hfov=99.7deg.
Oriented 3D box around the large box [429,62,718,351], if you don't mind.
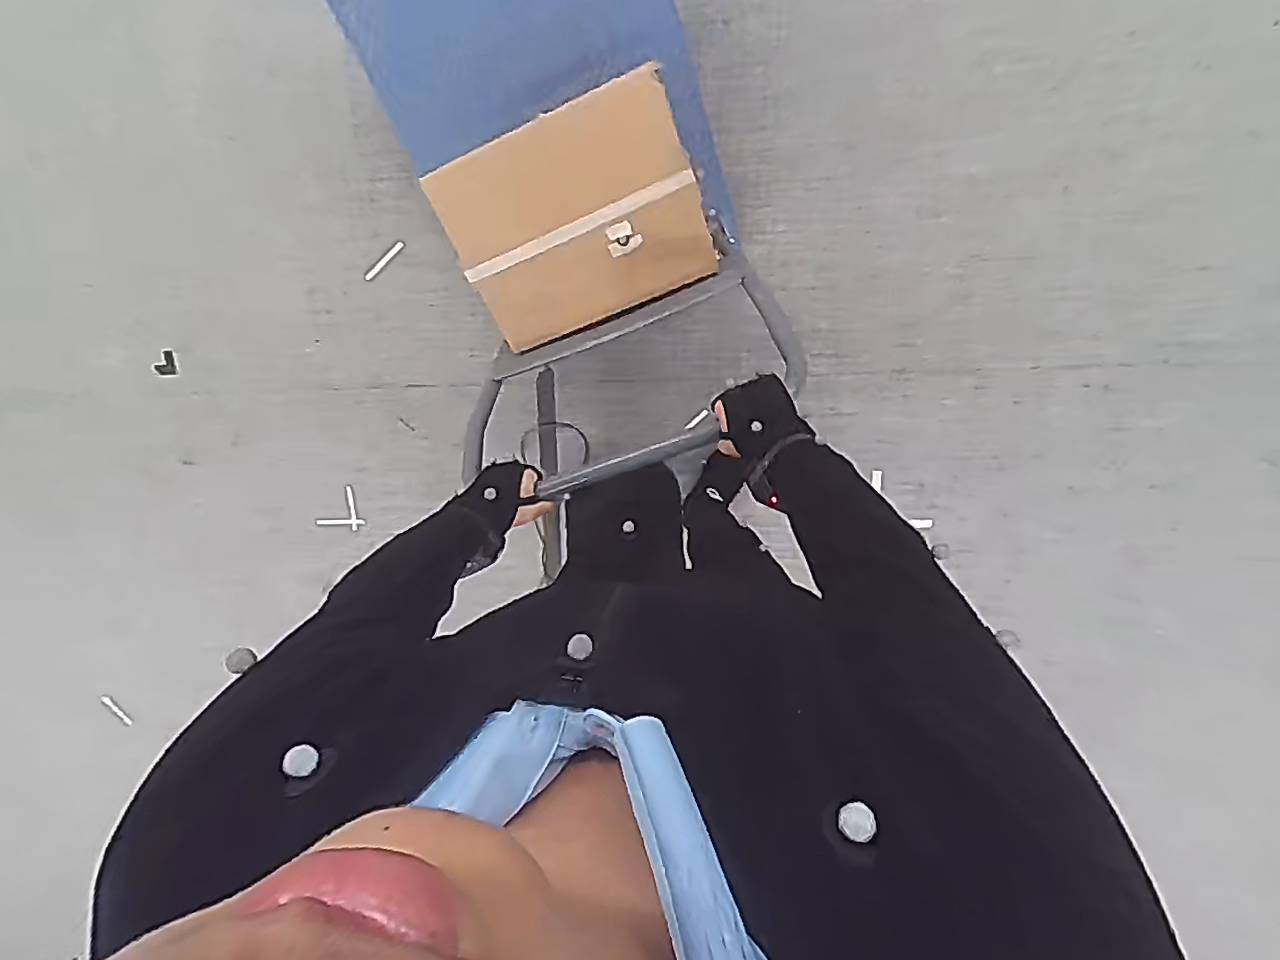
[{"bbox_3d":[-0.109,-0.505,1.032,0.408,0.320,0.320,-21,121,11],"label":"large box"}]
